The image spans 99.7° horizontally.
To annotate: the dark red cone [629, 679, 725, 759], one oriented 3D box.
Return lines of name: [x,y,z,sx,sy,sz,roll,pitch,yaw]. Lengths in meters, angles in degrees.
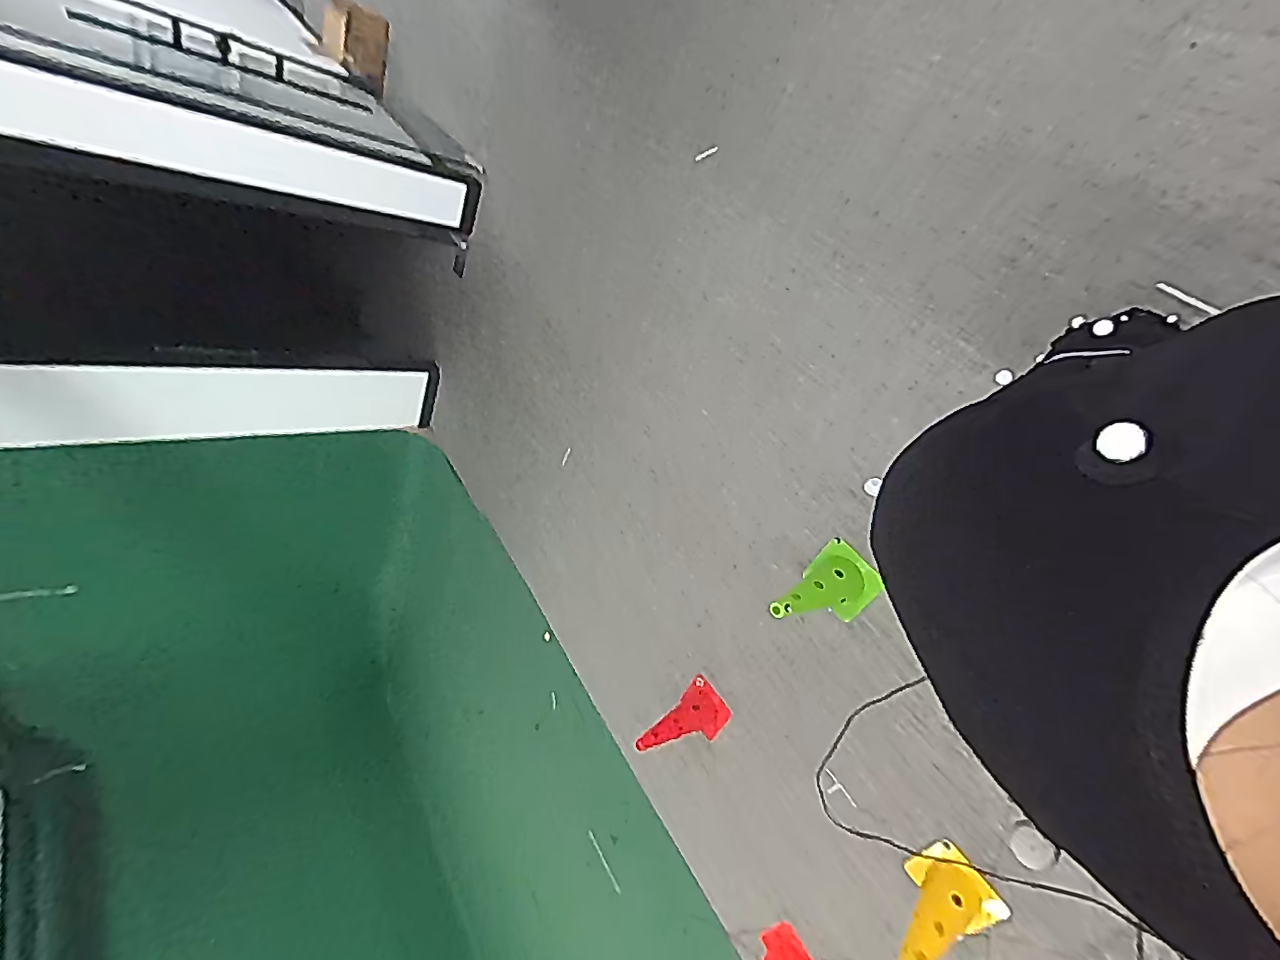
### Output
dark red cone: [0.117,0.920,1.999,0.202,0.394,0.201,46,129,33]

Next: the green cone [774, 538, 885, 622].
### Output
green cone: [0.489,0.323,1.526,0.202,0.368,0.200,49,129,30]

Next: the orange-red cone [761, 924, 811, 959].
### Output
orange-red cone: [0.420,1.743,1.832,0.198,0.360,0.199,51,129,29]
